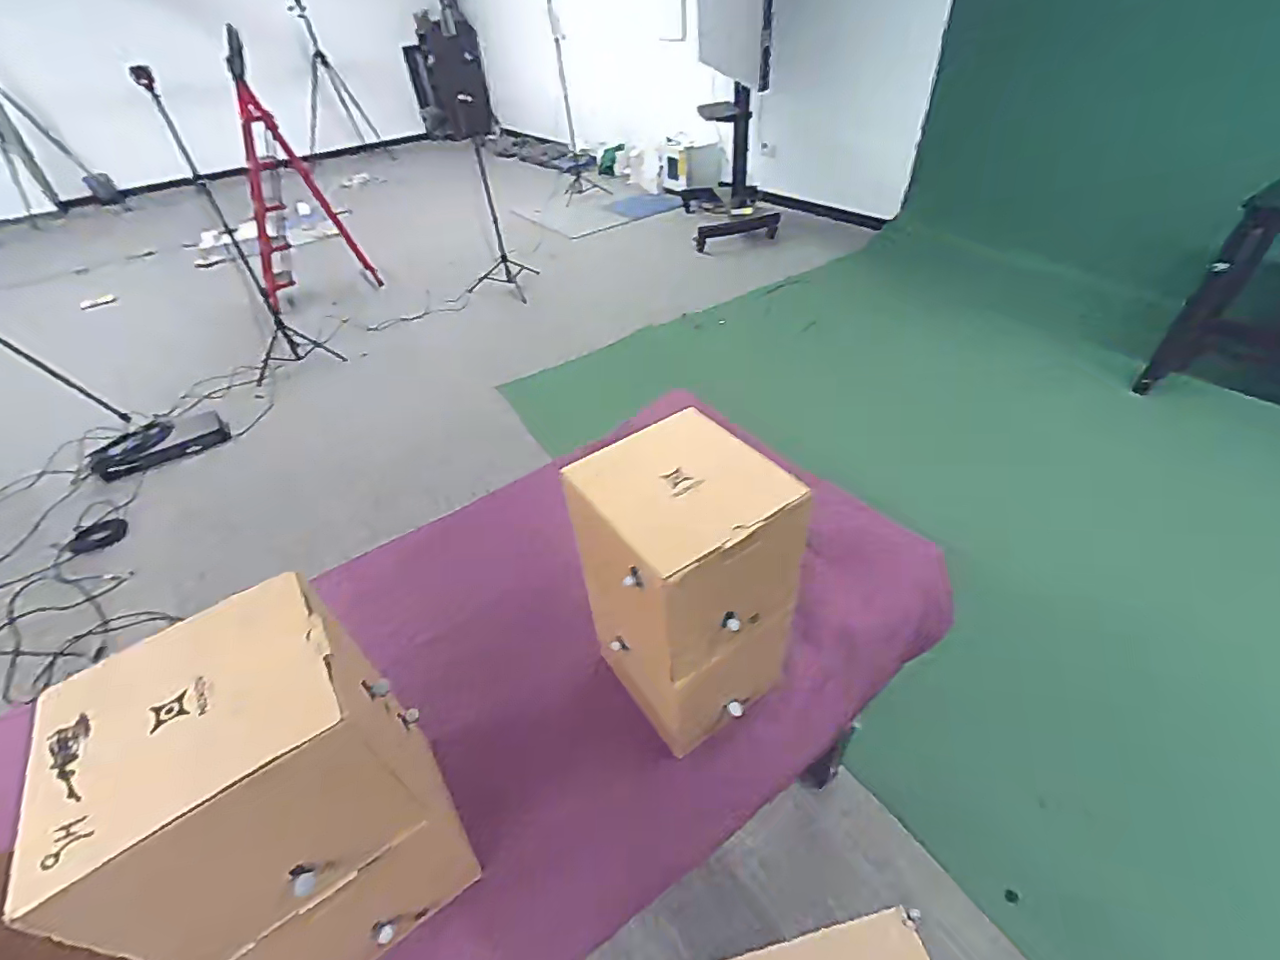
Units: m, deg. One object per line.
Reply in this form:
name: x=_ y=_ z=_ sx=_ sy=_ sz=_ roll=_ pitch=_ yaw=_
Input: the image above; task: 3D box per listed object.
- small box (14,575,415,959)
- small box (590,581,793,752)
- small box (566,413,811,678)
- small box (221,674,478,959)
small box: x=-0.295 y=0.214 z=0.417 sx=0.179 sy=0.176 sz=0.168 roll=-28 pitch=44 yaw=-25
small box: x=0.057 y=0.188 z=0.661 sx=0.168 sy=0.176 sz=0.179 roll=-27 pitch=46 yaw=-22
small box: x=0.044 y=0.063 z=0.557 sx=0.168 sy=0.176 sz=0.179 roll=-28 pitch=46 yaw=-23
small box: x=-0.283 y=0.337 z=0.526 sx=0.168 sy=0.176 sz=0.179 roll=-28 pitch=46 yaw=-23
